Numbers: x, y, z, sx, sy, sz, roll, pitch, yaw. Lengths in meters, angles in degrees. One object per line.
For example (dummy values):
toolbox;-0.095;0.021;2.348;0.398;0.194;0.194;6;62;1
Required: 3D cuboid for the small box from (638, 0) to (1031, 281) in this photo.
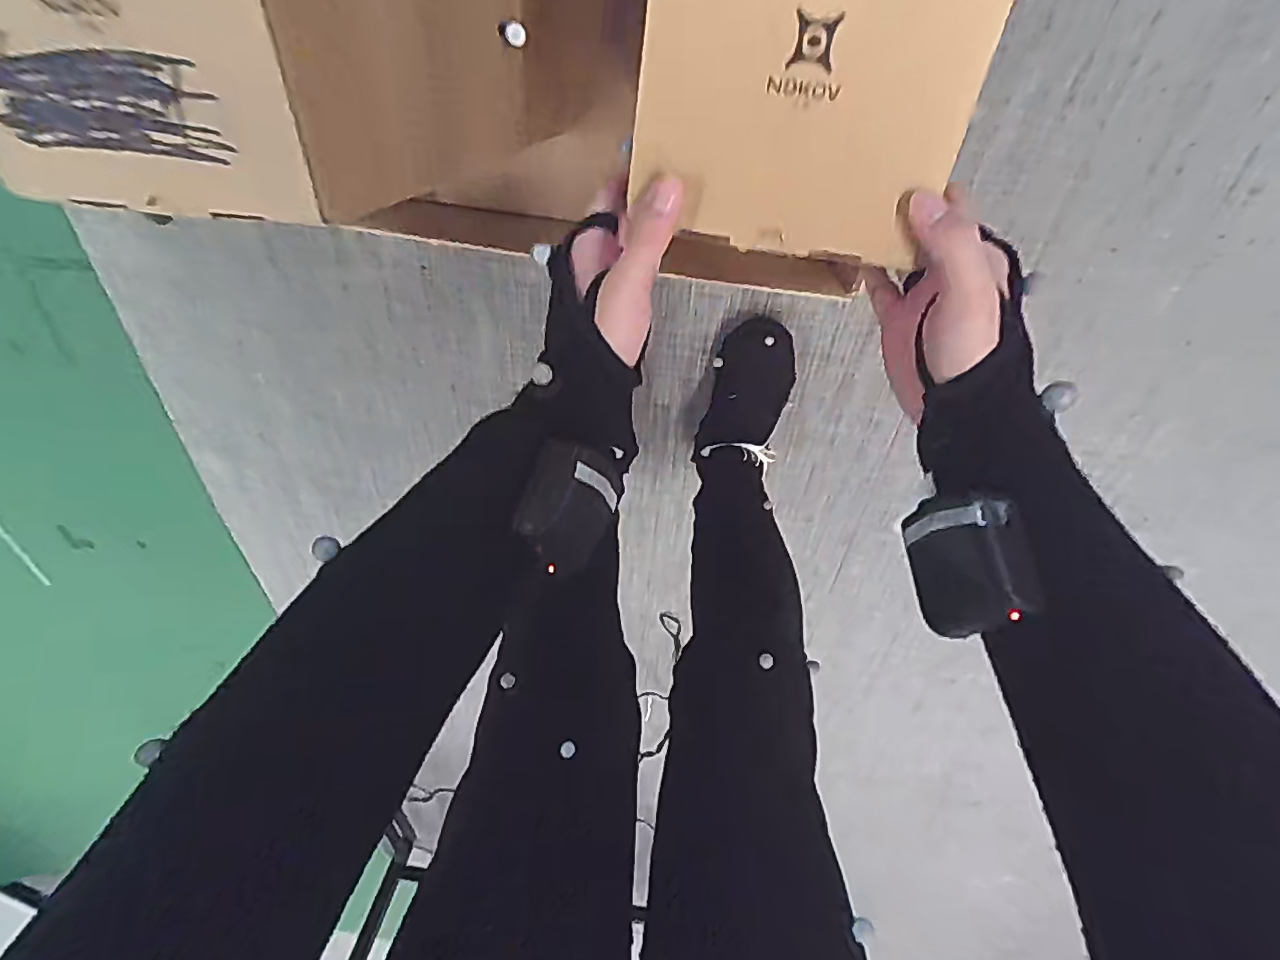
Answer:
small box;0.099;-0.238;0.330;0.168;0.176;0.179;10;121;3
